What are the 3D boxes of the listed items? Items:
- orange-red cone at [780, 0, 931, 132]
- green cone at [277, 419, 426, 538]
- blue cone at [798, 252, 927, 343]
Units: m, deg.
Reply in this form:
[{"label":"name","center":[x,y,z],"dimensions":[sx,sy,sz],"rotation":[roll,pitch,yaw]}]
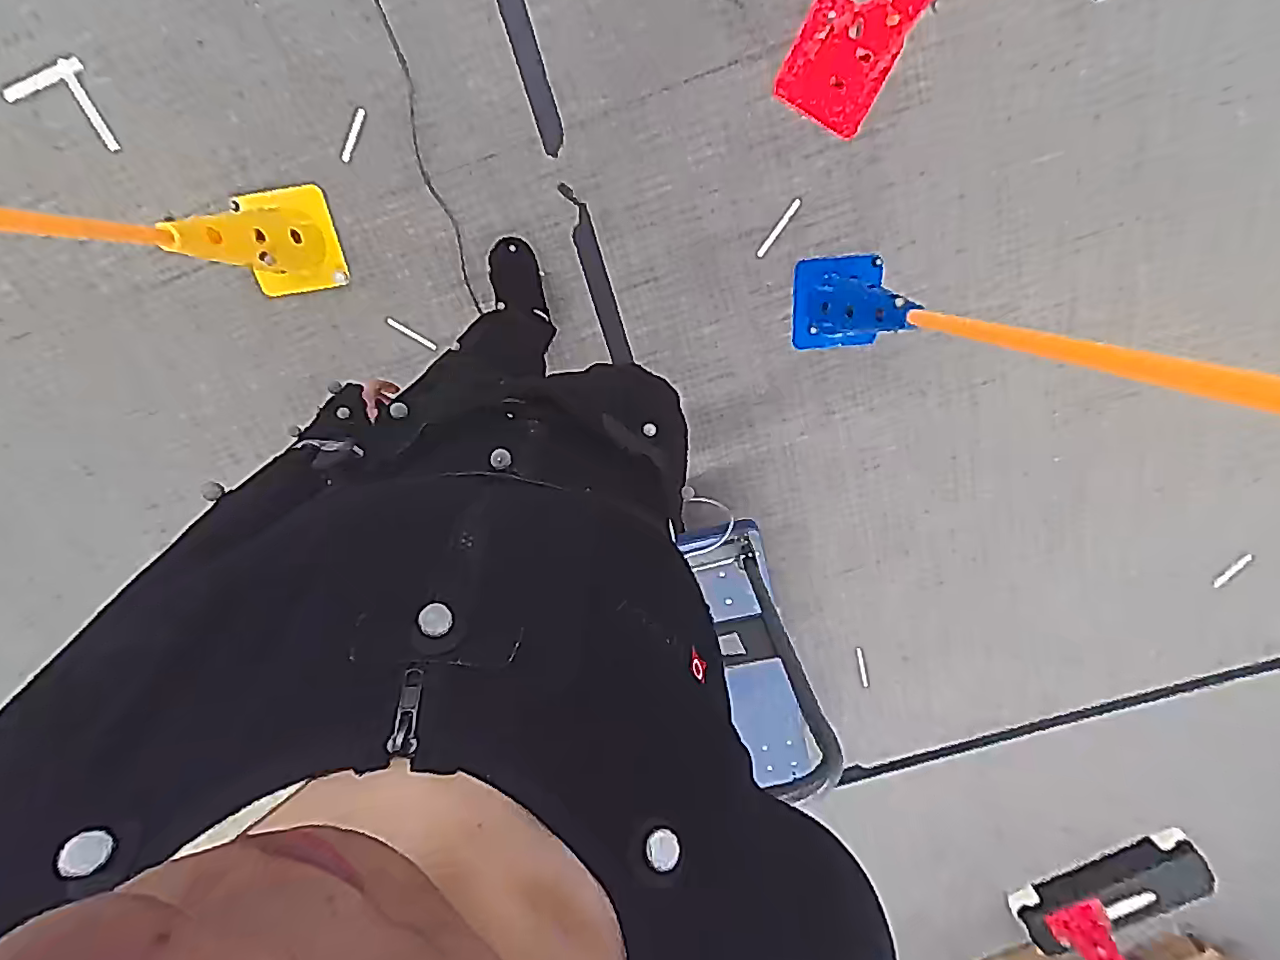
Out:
[{"label":"orange-red cone","center":[0.402,-0.760,0.901],"dimensions":[0.198,0.360,0.199],"rotation":[26,110,-11]},{"label":"green cone","center":[-0.655,0.032,1.172],"dimensions":[0.200,0.368,0.202],"rotation":[-30,108,9]},{"label":"blue cone","center":[0.457,-0.355,1.075],"dimensions":[0.193,0.380,0.192],"rotation":[-3,110,-1]}]
